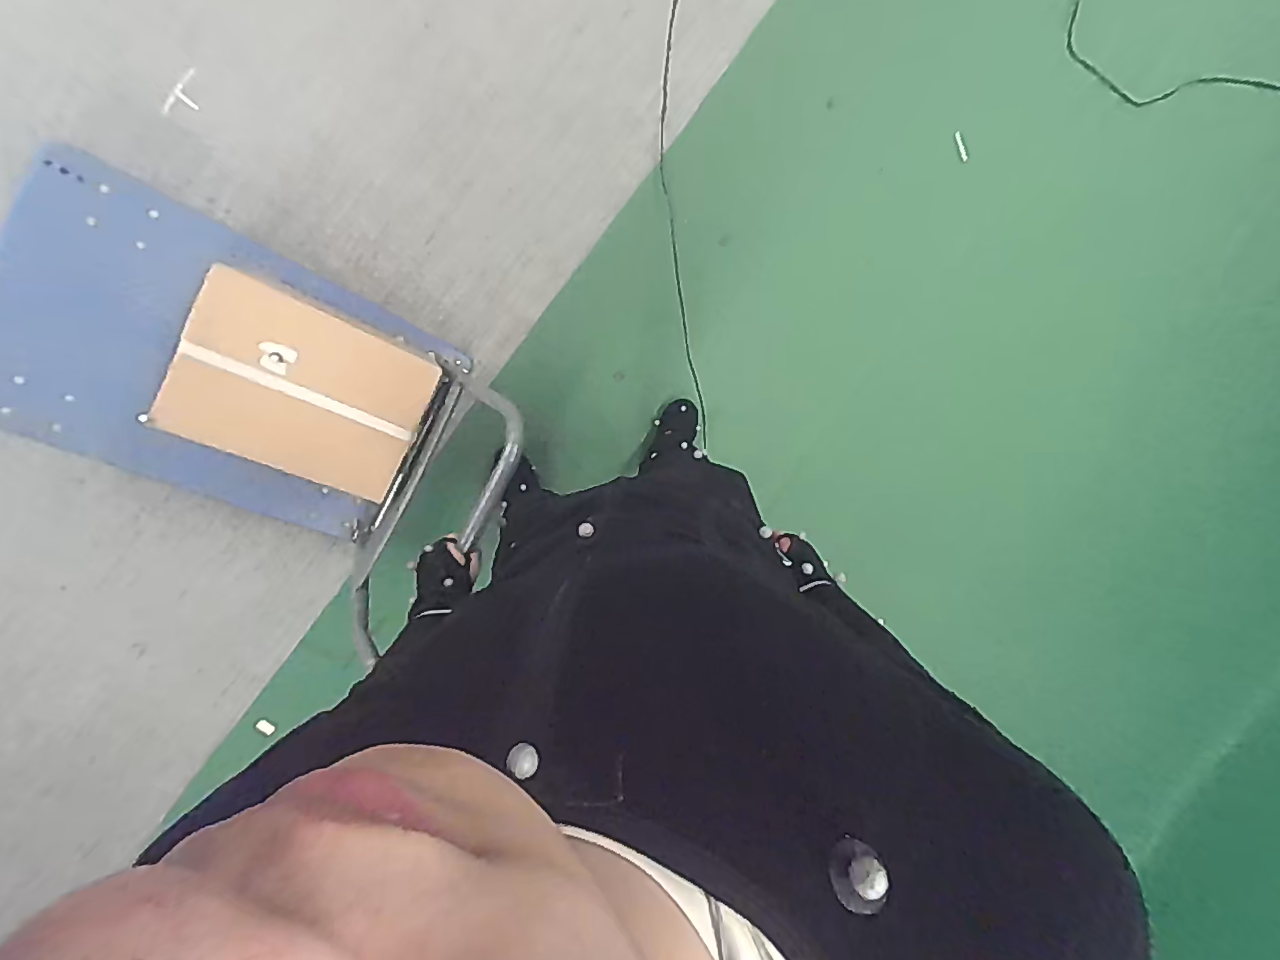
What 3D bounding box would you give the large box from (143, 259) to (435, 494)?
[{"bbox_3d":[-0.691,-0.212,1.145,0.408,0.320,0.320,24,95,-27],"label":"large box"}]
